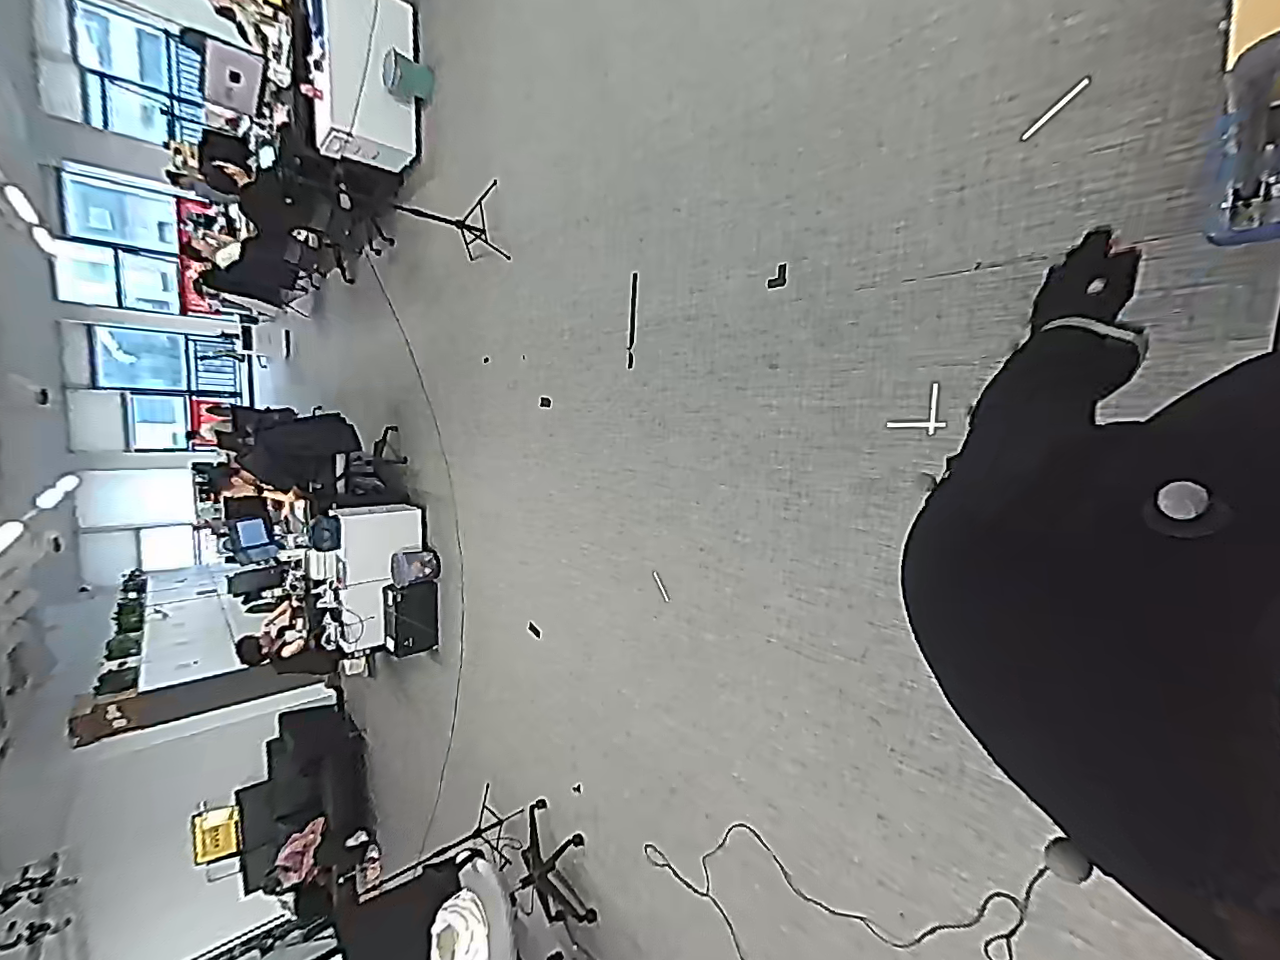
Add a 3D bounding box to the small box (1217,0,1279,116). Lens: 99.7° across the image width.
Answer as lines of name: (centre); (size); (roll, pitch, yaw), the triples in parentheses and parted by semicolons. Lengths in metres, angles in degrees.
small box: (0.974, -0.673, 0.784); (0.179, 0.176, 0.168); (6, 97, 46)
